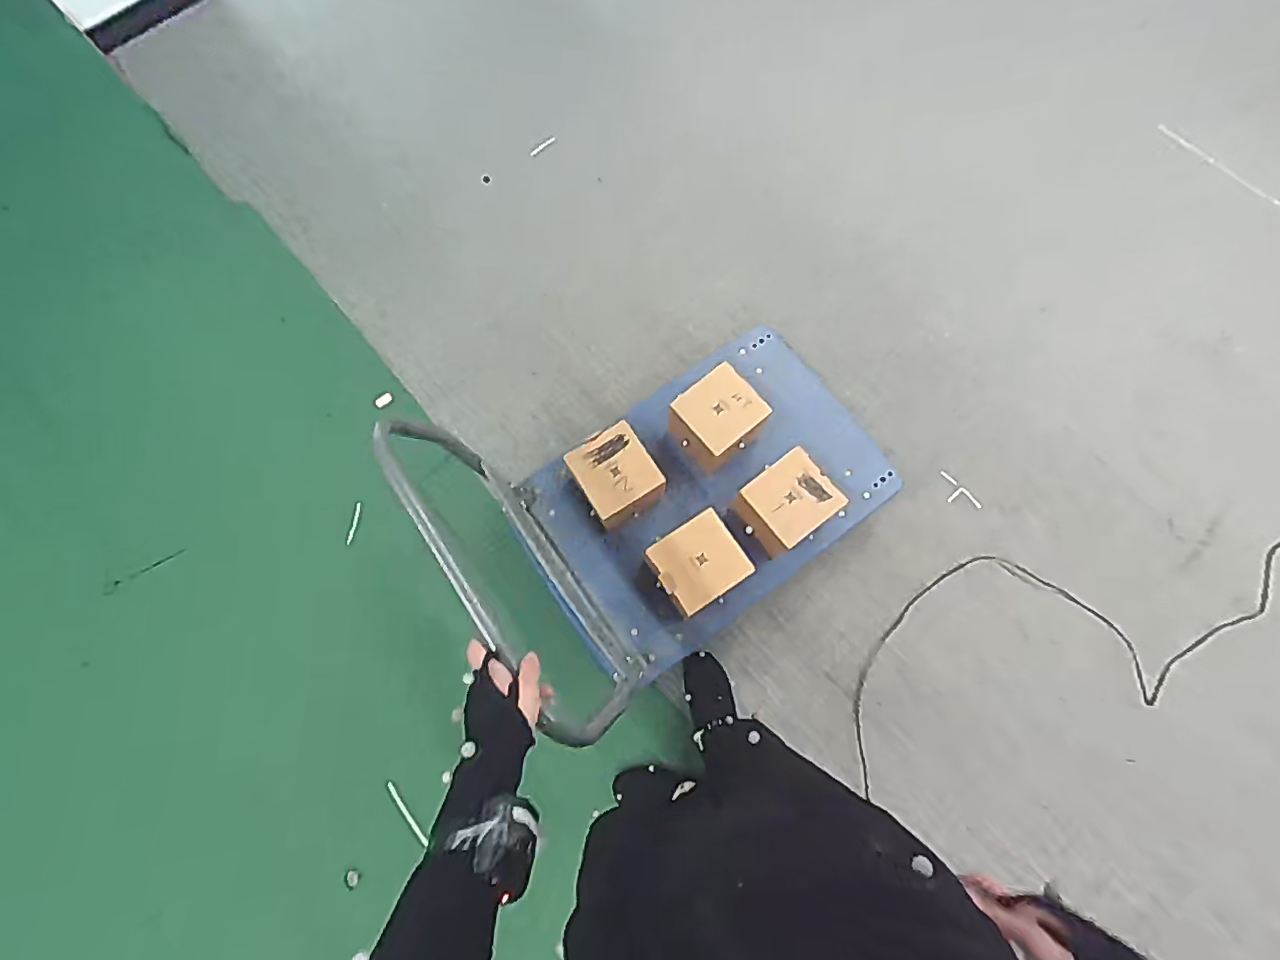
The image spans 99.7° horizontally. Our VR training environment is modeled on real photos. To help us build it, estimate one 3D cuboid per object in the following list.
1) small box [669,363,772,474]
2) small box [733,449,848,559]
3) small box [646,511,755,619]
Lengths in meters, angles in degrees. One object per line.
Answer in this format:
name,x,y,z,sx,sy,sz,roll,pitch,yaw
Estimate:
small box,0.186,-0.139,1.301,0.179,0.176,0.168,-38,78,-9
small box,0.335,0.061,1.243,0.179,0.176,0.168,-36,76,-8
small box,0.127,0.194,1.212,0.179,0.176,0.168,-33,77,-6
